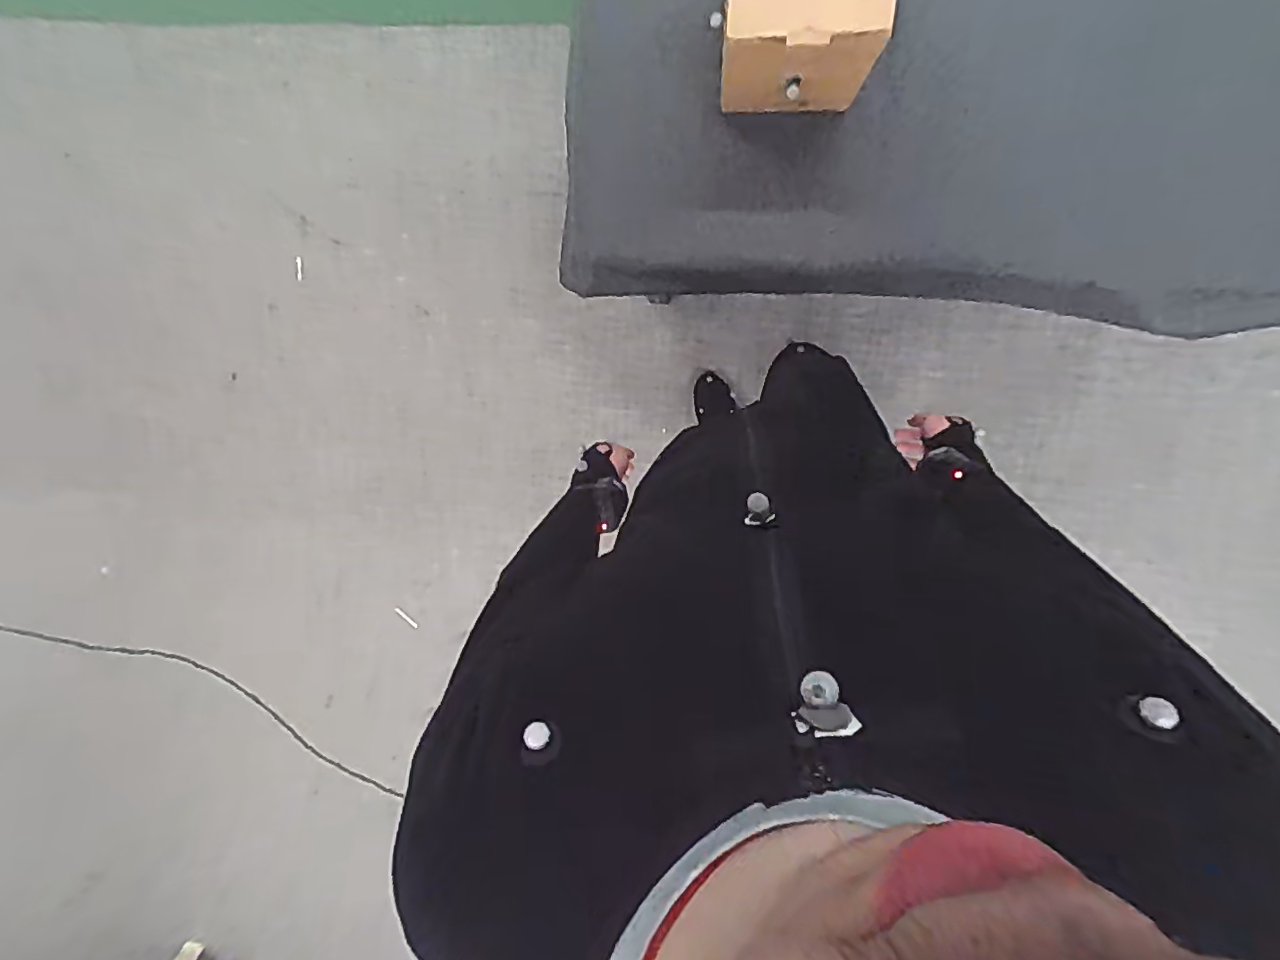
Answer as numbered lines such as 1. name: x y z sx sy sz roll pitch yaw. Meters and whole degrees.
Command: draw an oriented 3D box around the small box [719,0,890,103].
1. small box: 0.176 -0.550 0.604 0.168 0.176 0.179 2 103 6
